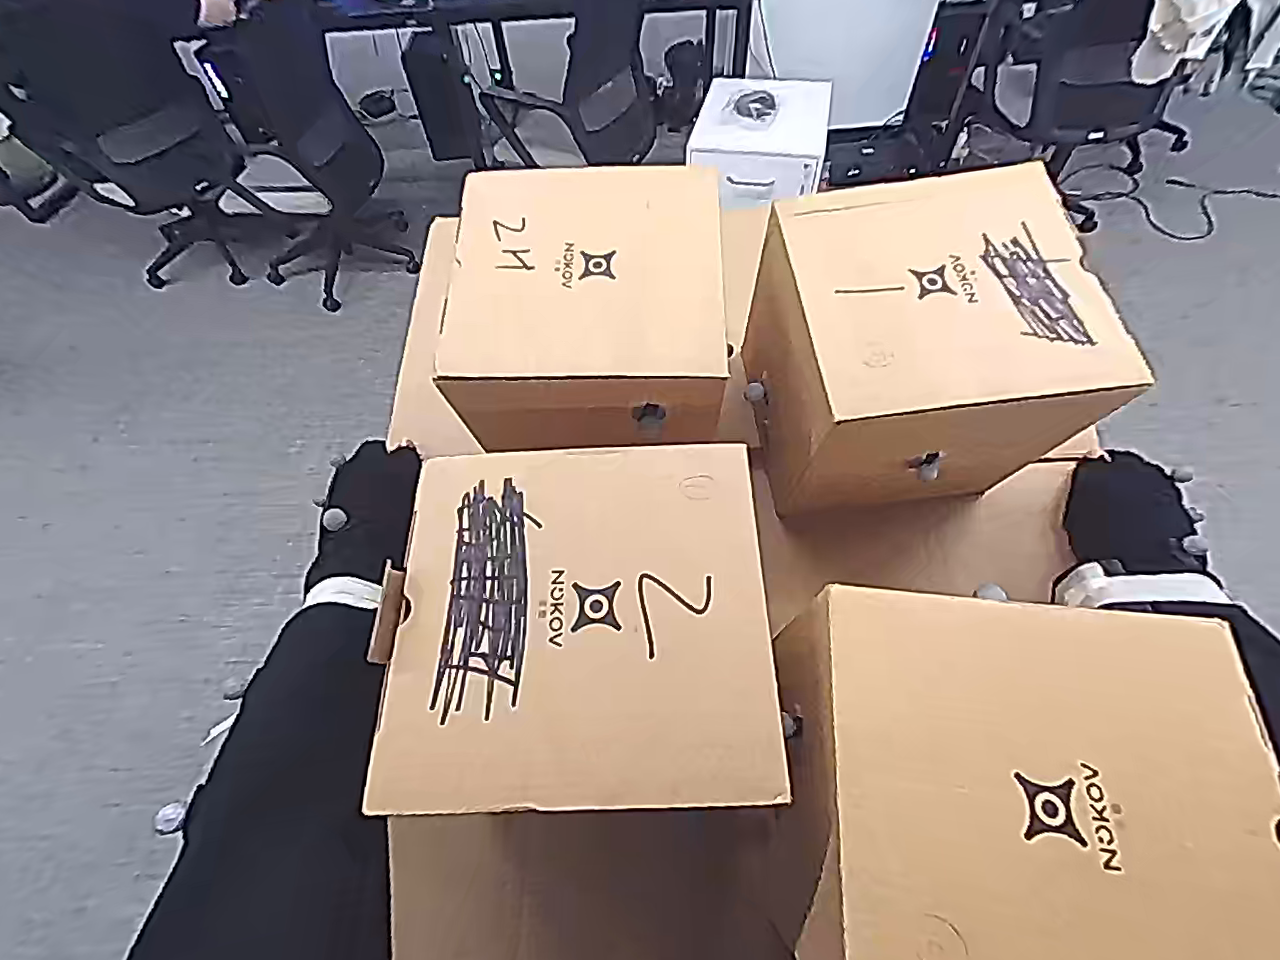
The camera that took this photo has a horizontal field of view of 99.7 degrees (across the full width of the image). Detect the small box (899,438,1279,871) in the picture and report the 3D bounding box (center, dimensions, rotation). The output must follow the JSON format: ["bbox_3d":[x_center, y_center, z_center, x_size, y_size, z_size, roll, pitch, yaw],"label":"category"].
[{"bbox_3d":[0.273,0.098,0.297,0.179,0.176,0.168,16,72,9],"label":"small box"}]
